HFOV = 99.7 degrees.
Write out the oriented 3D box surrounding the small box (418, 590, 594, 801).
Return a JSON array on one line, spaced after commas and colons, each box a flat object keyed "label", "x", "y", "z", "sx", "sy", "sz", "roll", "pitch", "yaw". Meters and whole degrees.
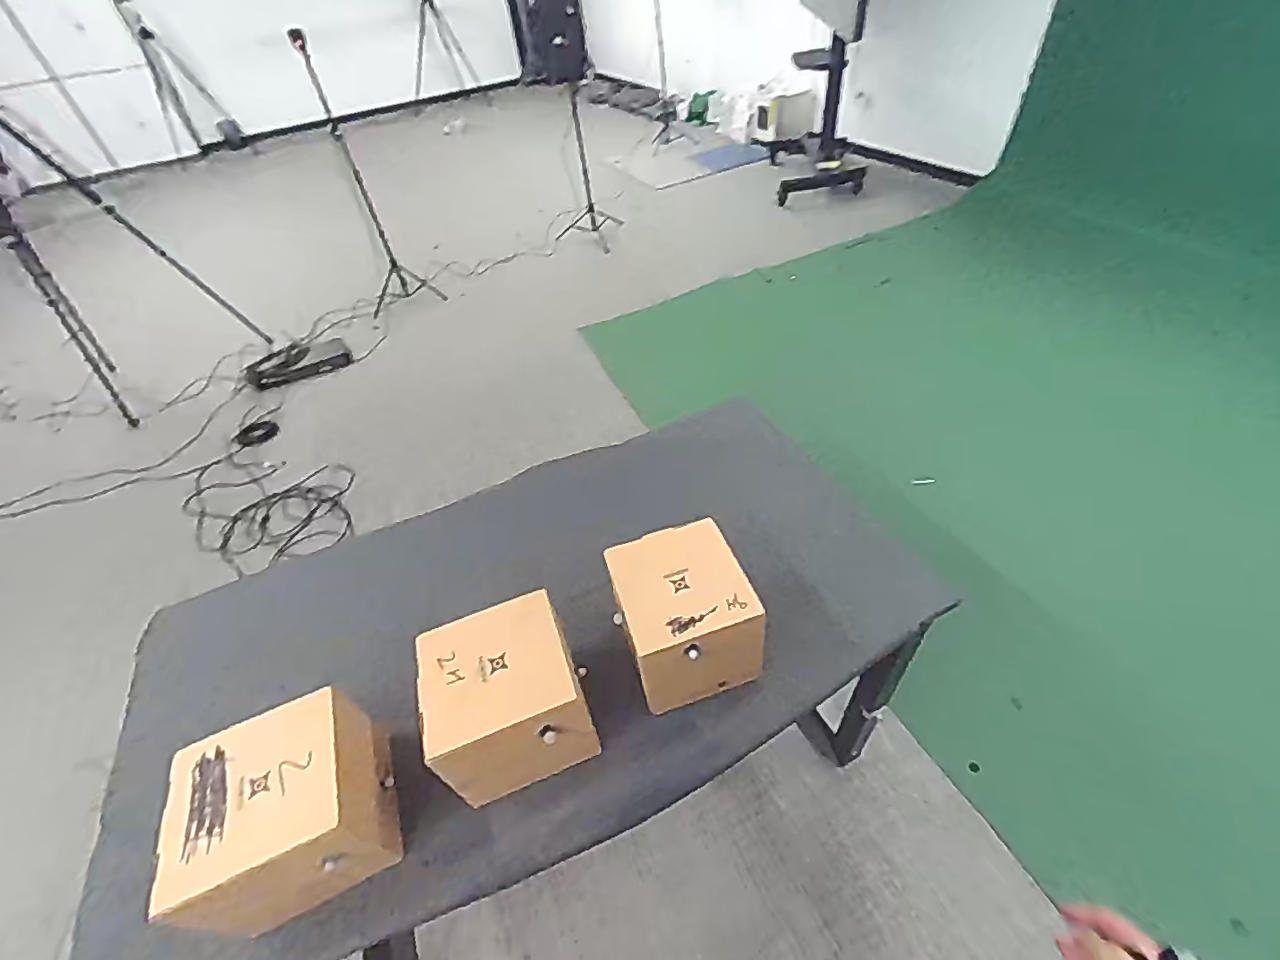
[{"label": "small box", "x": -0.166, "y": 0.280, "z": 0.702, "sx": 0.179, "sy": 0.176, "sz": 0.168, "roll": -20, "pitch": 45, "yaw": -9}]
